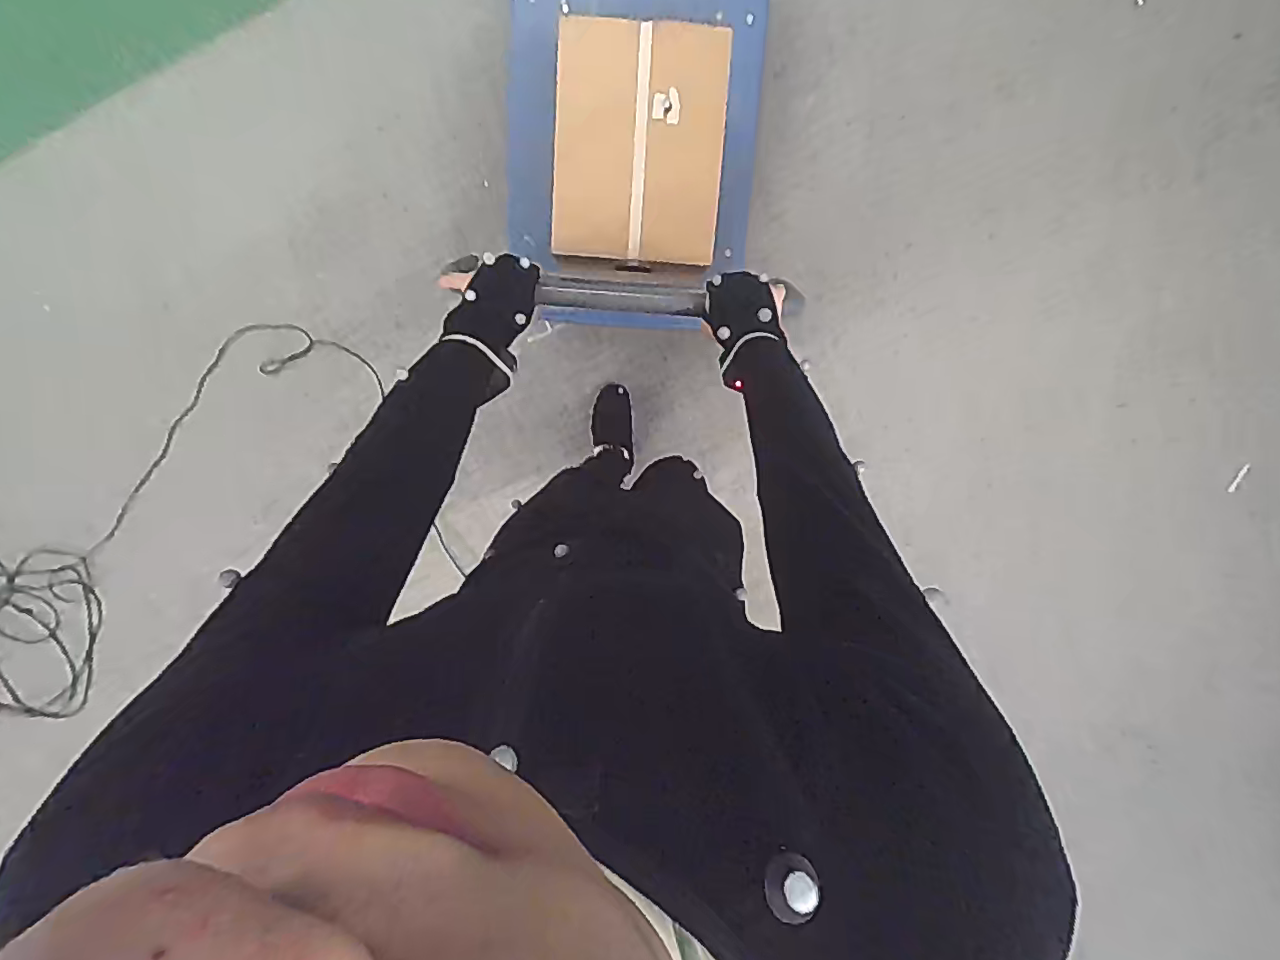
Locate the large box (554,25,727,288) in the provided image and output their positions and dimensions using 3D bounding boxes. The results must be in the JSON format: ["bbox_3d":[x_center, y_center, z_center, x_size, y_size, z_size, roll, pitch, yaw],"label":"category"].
[{"bbox_3d":[-0.004,-0.652,1.168,0.320,0.320,0.408,4,101,-2],"label":"large box"}]
